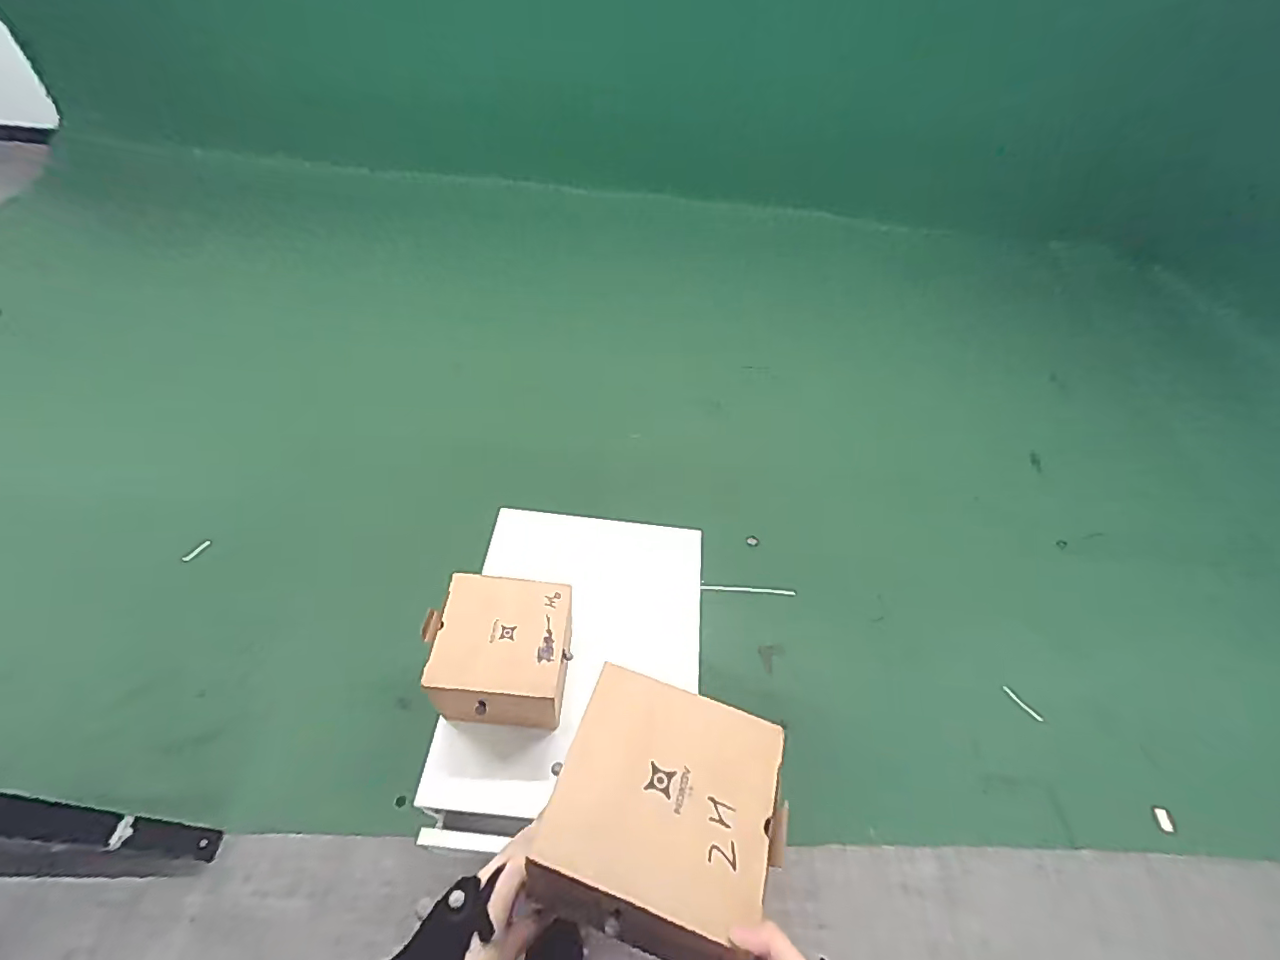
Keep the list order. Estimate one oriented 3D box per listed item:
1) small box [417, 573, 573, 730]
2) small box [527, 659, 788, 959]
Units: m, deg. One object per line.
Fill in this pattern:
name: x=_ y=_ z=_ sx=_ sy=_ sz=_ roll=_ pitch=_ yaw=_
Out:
small box: x=-0.196 y=0.255 z=0.792 sx=0.179 sy=0.176 sz=0.168 roll=6 pitch=51 yaw=-2
small box: x=0.013 y=0.297 z=0.483 sx=0.179 sy=0.176 sz=0.168 roll=19 pitch=45 yaw=7
